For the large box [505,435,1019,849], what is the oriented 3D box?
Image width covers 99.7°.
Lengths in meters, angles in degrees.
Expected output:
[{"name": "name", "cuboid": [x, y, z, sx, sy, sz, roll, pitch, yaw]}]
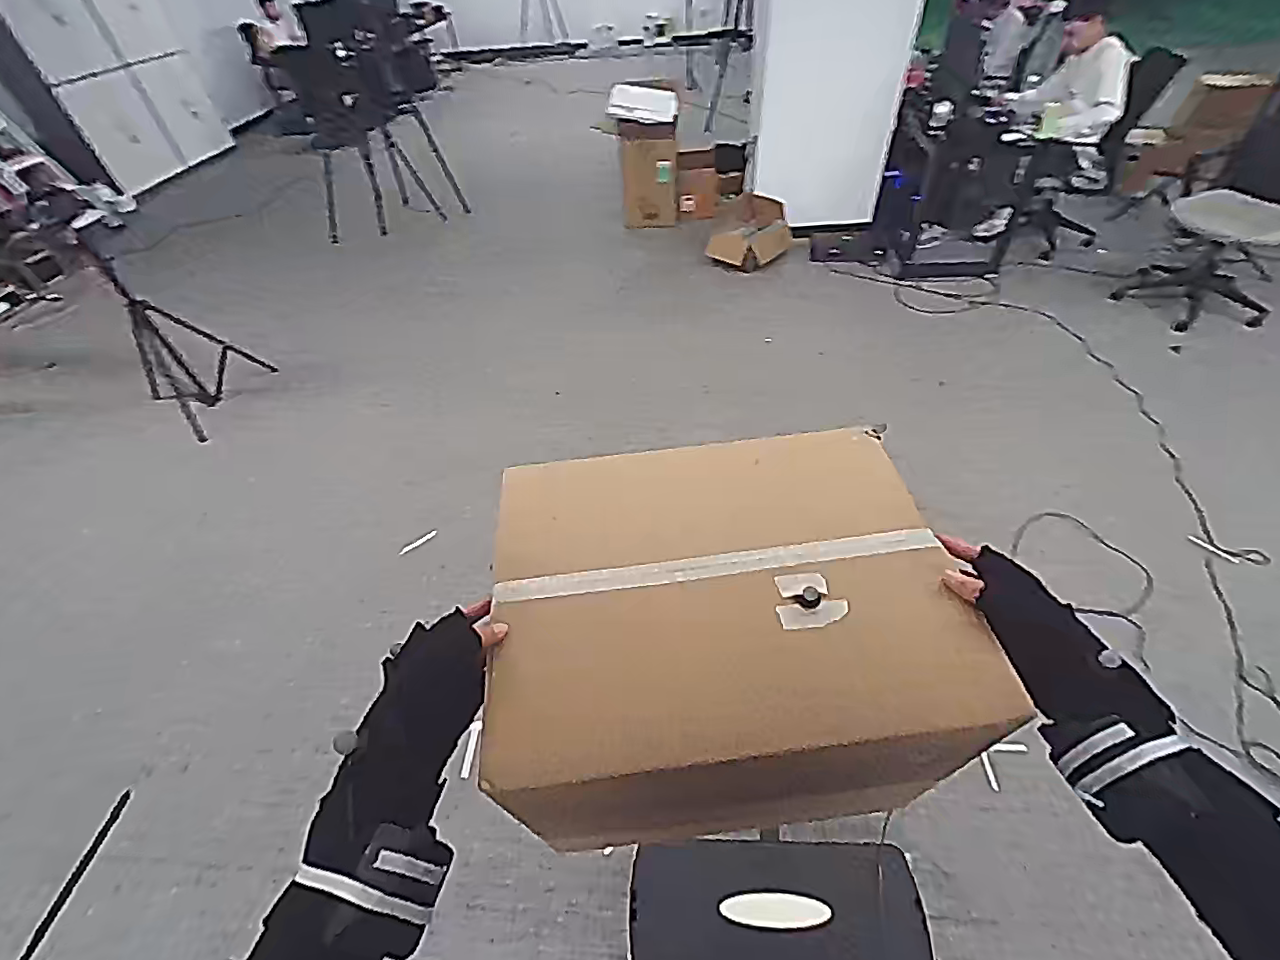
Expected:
[{"name": "large box", "cuboid": [0.084, 0.184, 0.611, 0.408, 0.320, 0.320, -7, 49, -2]}]
